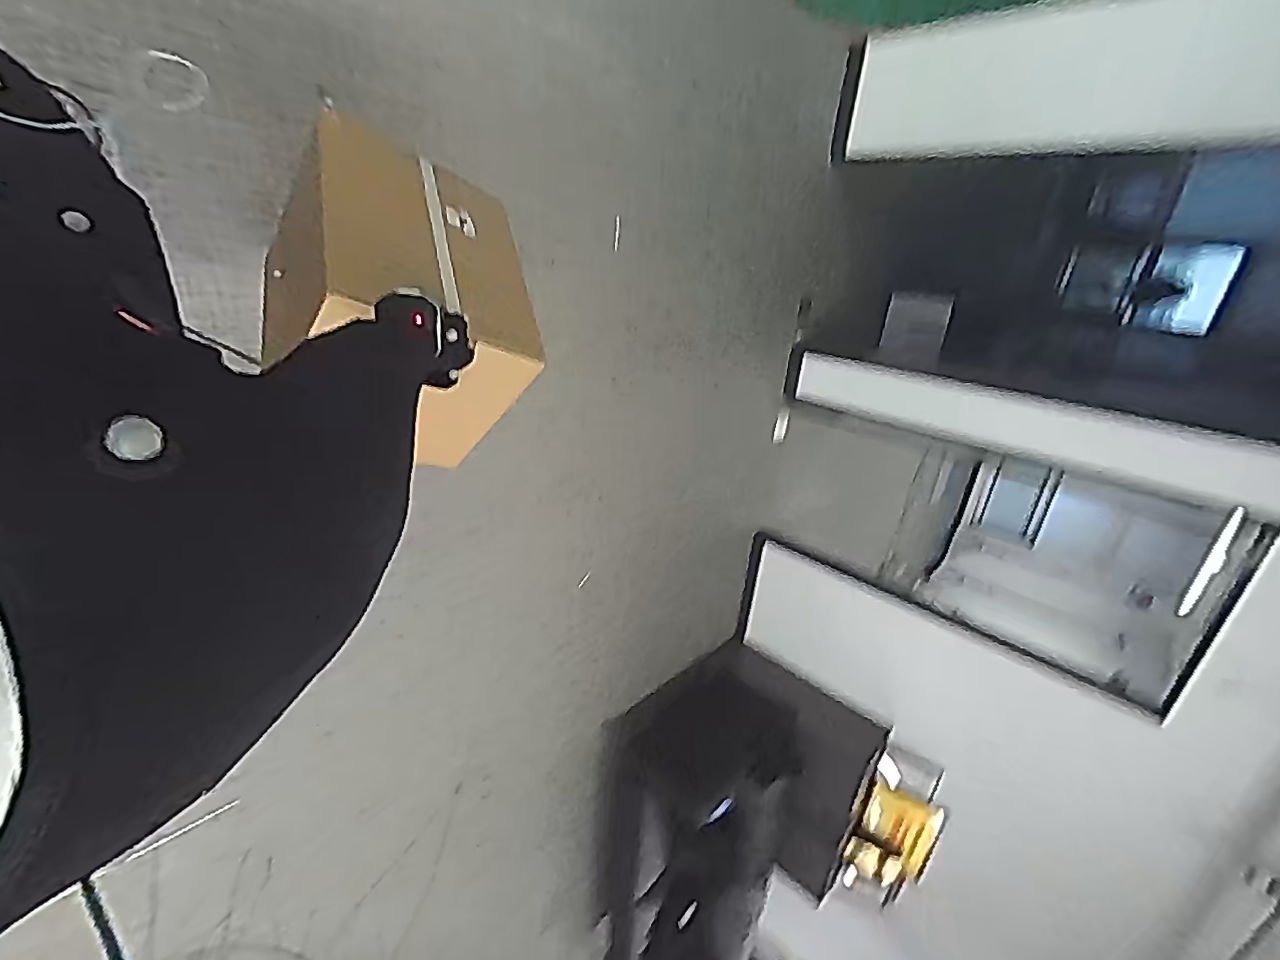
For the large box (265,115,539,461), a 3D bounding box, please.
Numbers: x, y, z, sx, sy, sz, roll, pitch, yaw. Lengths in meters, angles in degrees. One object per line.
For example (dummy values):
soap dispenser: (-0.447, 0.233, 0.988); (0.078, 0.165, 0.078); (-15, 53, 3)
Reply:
large box: (-0.421, -0.290, 0.918); (0.320, 0.408, 0.320); (11, 140, -45)
